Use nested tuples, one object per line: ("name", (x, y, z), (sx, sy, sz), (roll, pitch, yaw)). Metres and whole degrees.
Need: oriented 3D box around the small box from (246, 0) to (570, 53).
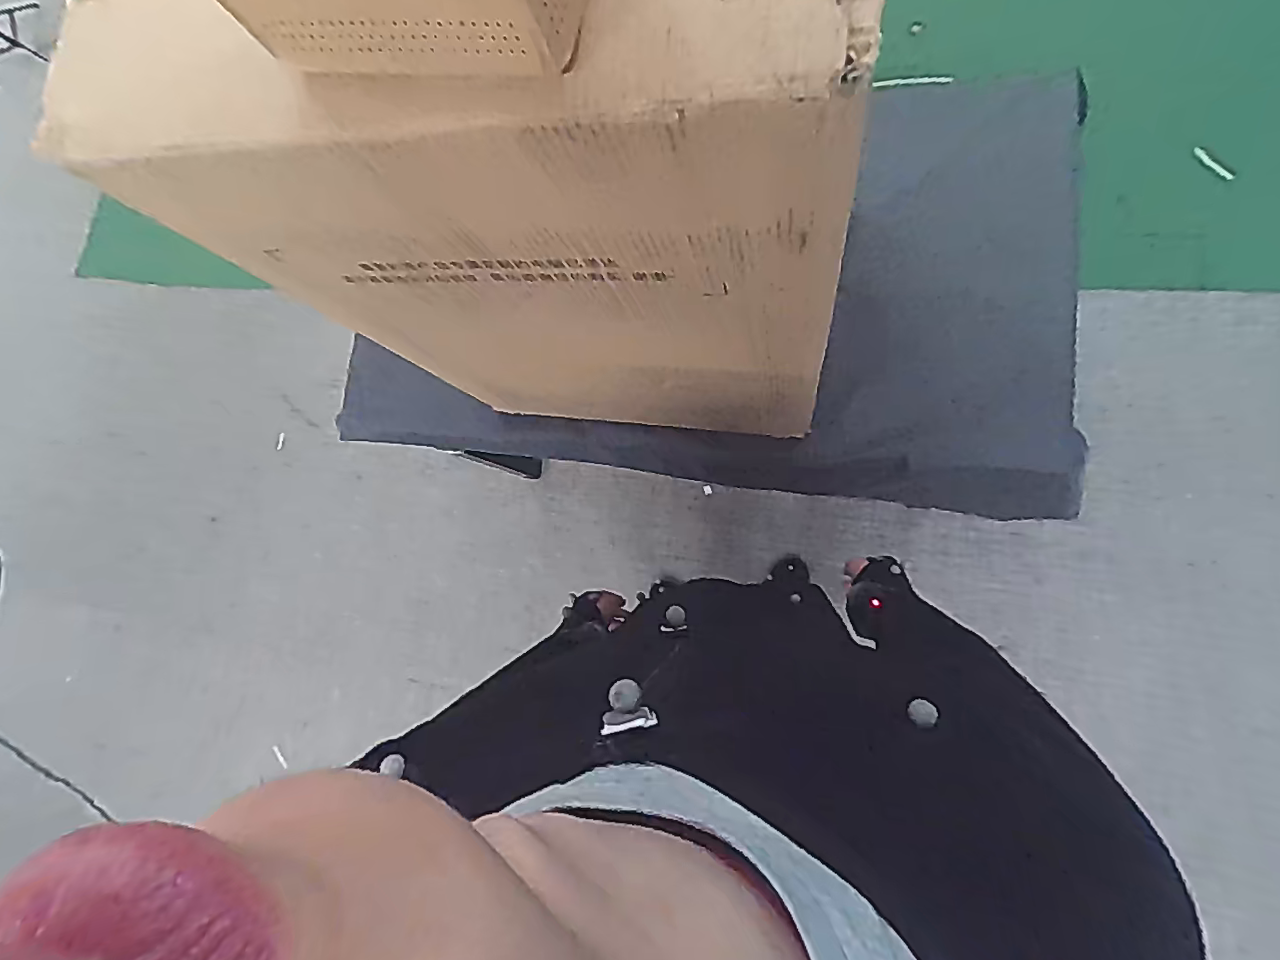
("small box", (-0.120, -0.307, 0.206), (0.179, 0.176, 0.168), (13, 86, 16))
